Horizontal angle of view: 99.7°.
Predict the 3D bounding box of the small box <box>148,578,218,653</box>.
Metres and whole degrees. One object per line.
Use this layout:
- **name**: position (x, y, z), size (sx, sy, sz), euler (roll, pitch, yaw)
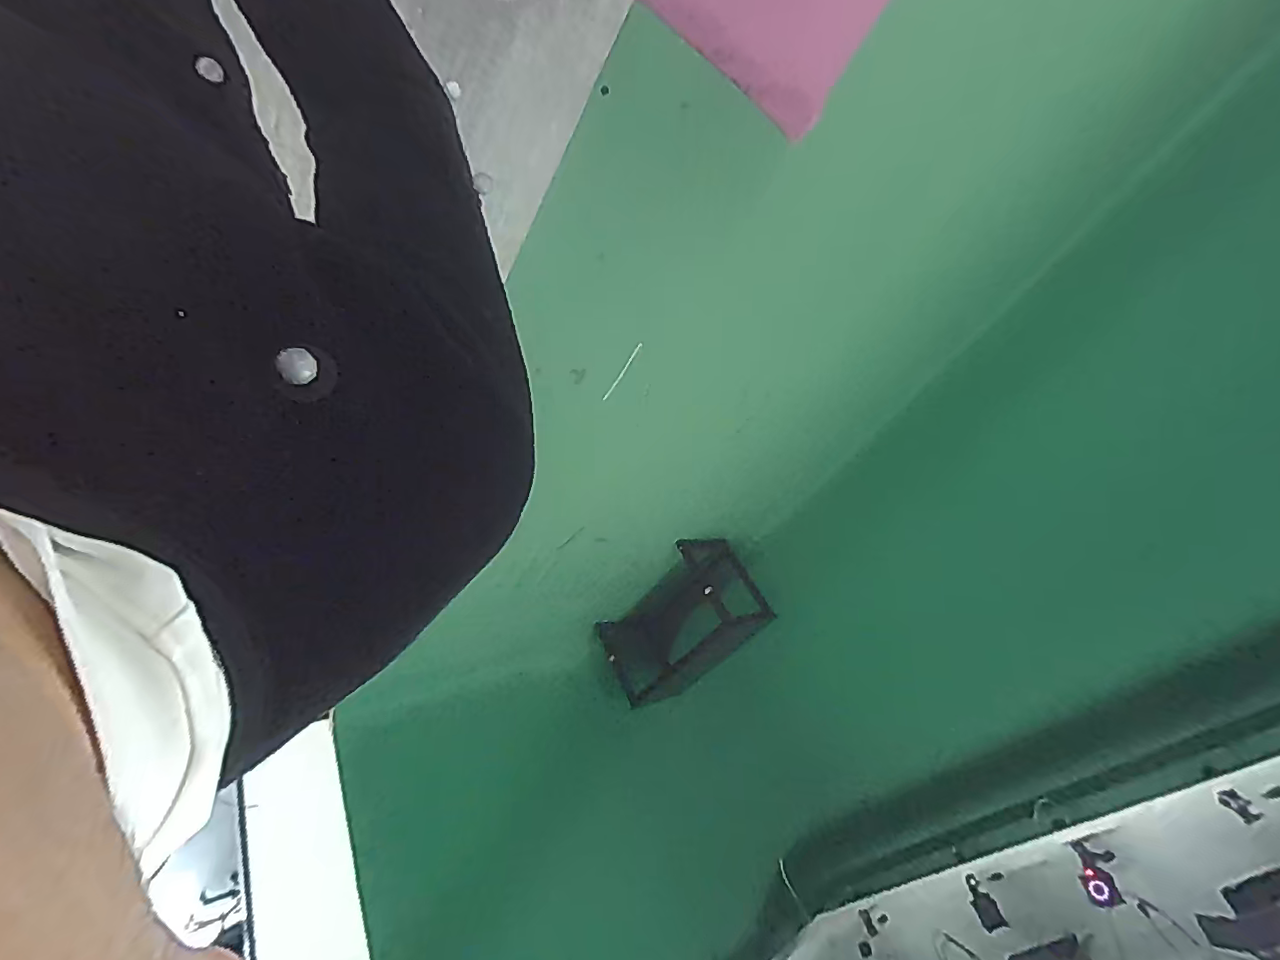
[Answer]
- **small box**: position (-1.515, 0.446, 1.794), size (0.168, 0.176, 0.179), euler (4, 135, -43)
